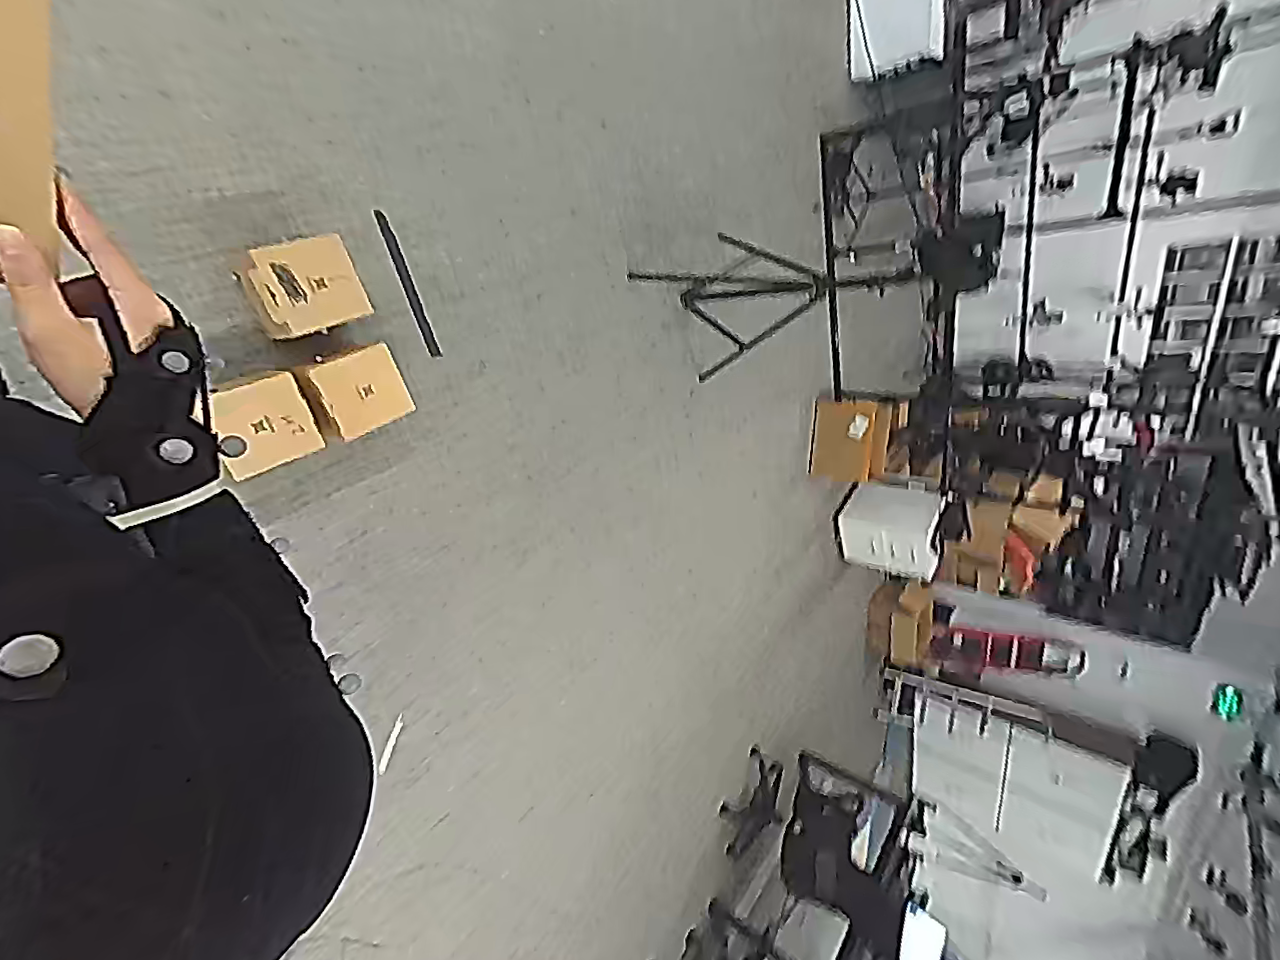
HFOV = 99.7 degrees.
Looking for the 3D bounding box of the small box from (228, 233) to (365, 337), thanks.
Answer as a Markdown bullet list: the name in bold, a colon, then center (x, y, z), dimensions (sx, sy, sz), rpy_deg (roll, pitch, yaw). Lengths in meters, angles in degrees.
- **small box**: center (-0.724, -0.405, 1.134), dimensions (0.179, 0.176, 0.168), rpy_deg (-37, 125, -39)
